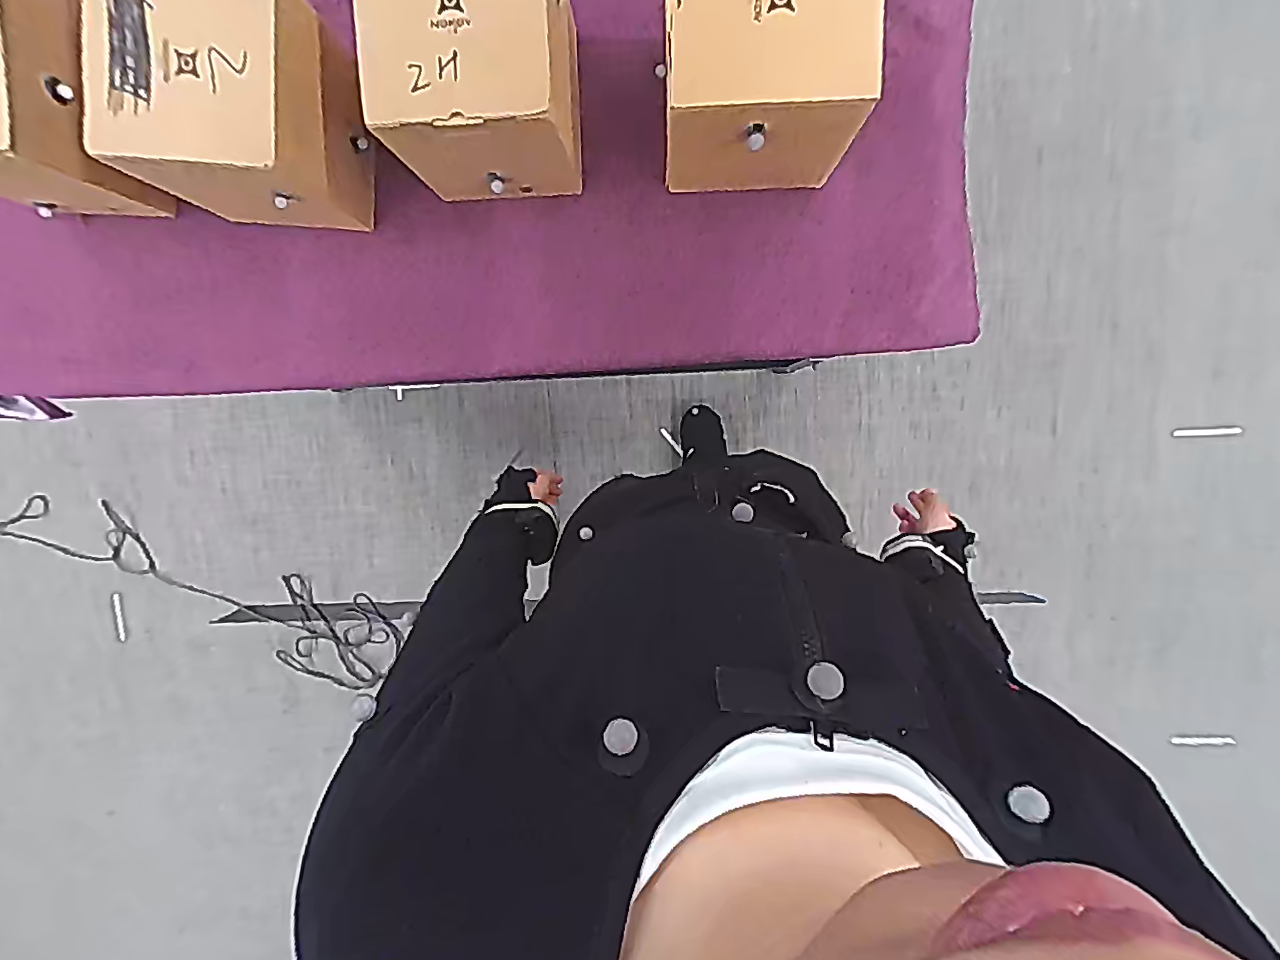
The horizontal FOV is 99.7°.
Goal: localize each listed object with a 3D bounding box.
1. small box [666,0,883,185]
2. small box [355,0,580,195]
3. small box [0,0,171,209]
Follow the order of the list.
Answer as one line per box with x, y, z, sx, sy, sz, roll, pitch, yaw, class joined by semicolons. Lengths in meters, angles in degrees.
0.114;-0.404;0.517;0.179;0.176;0.168;0;96;4;small box
-0.154;-0.407;0.531;0.168;0.176;0.179;-1;97;4;small box
-0.631;-0.397;0.555;0.168;0.176;0.179;3;98;2;small box
